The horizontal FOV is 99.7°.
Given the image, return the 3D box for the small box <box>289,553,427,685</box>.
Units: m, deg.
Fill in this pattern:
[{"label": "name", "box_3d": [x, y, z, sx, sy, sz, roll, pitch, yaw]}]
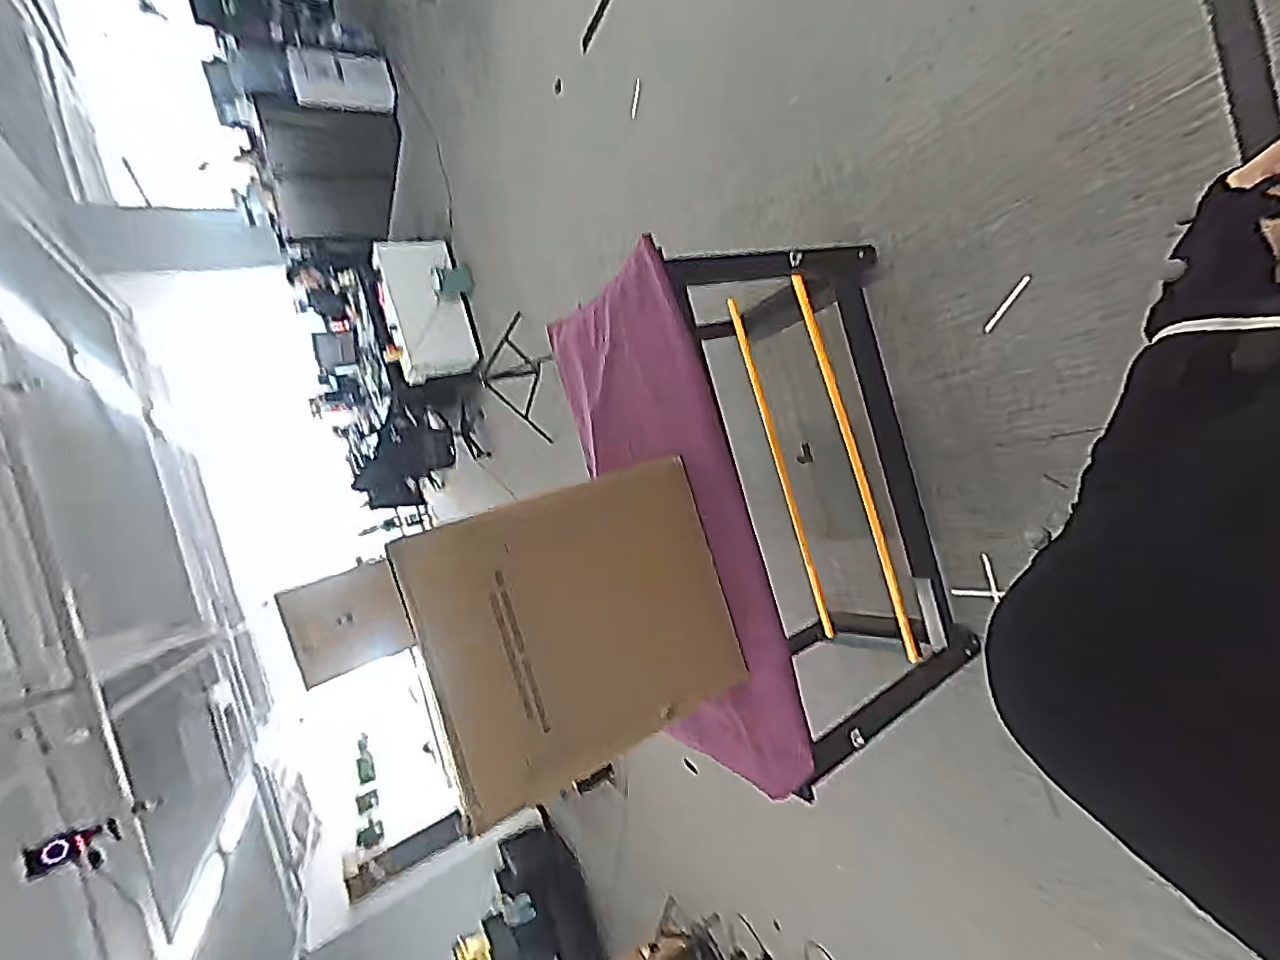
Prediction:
[{"label": "small box", "box_3d": [-0.490, 0.232, 0.939, 0.179, 0.176, 0.168, -13, 94, 60]}]
